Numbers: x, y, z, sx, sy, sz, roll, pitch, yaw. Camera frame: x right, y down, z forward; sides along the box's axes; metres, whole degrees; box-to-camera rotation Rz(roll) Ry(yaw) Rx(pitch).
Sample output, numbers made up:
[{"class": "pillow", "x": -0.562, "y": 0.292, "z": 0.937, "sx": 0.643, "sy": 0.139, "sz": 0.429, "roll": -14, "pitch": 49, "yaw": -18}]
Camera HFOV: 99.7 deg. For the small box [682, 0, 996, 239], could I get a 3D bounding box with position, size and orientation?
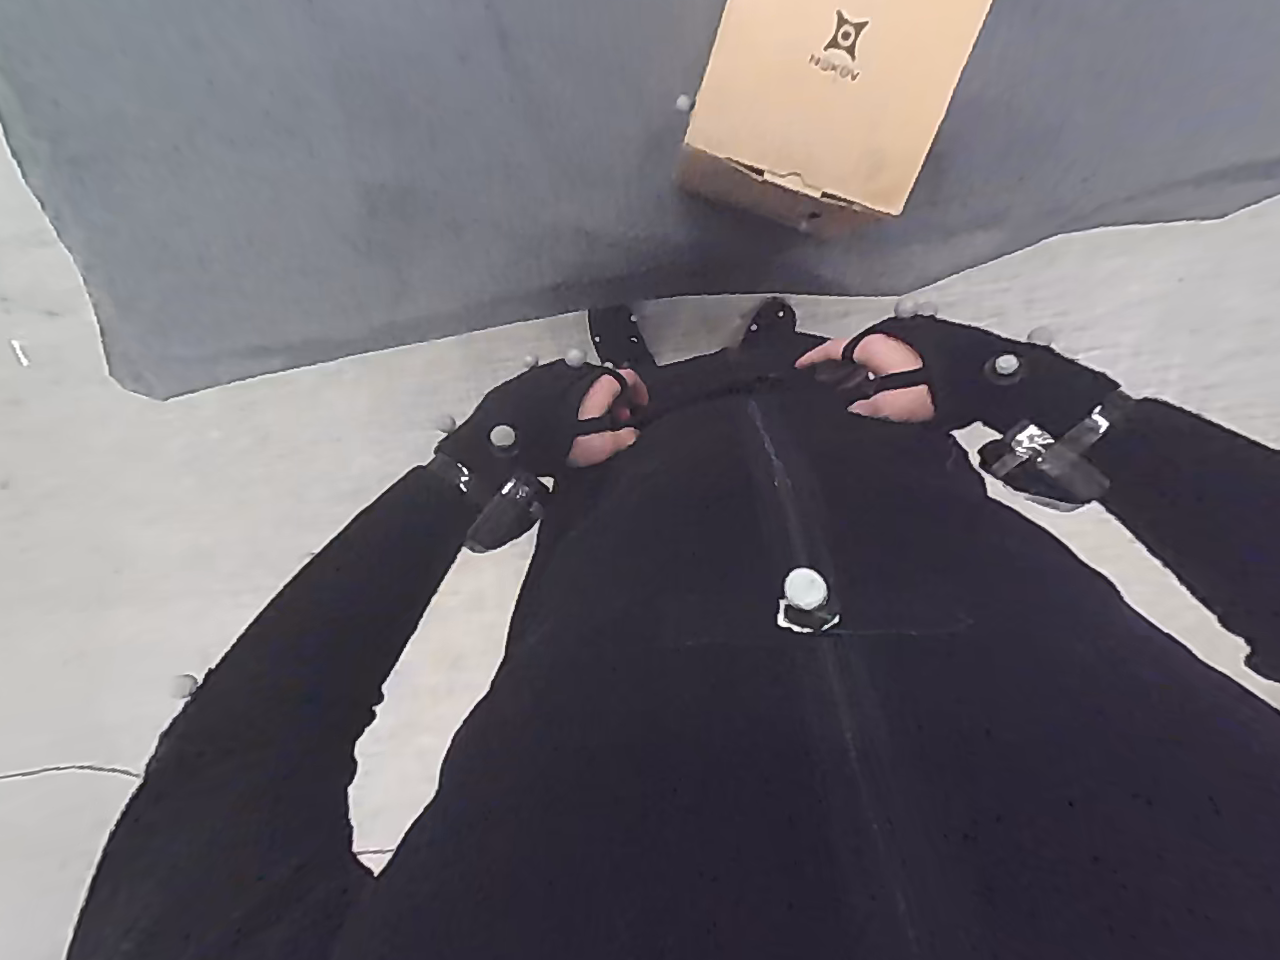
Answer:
[{"class": "small box", "x": 0.136, "y": -0.309, "z": 0.434, "sx": 0.168, "sy": 0.176, "sz": 0.179, "roll": 15, "pitch": 109, "yaw": -5}]
